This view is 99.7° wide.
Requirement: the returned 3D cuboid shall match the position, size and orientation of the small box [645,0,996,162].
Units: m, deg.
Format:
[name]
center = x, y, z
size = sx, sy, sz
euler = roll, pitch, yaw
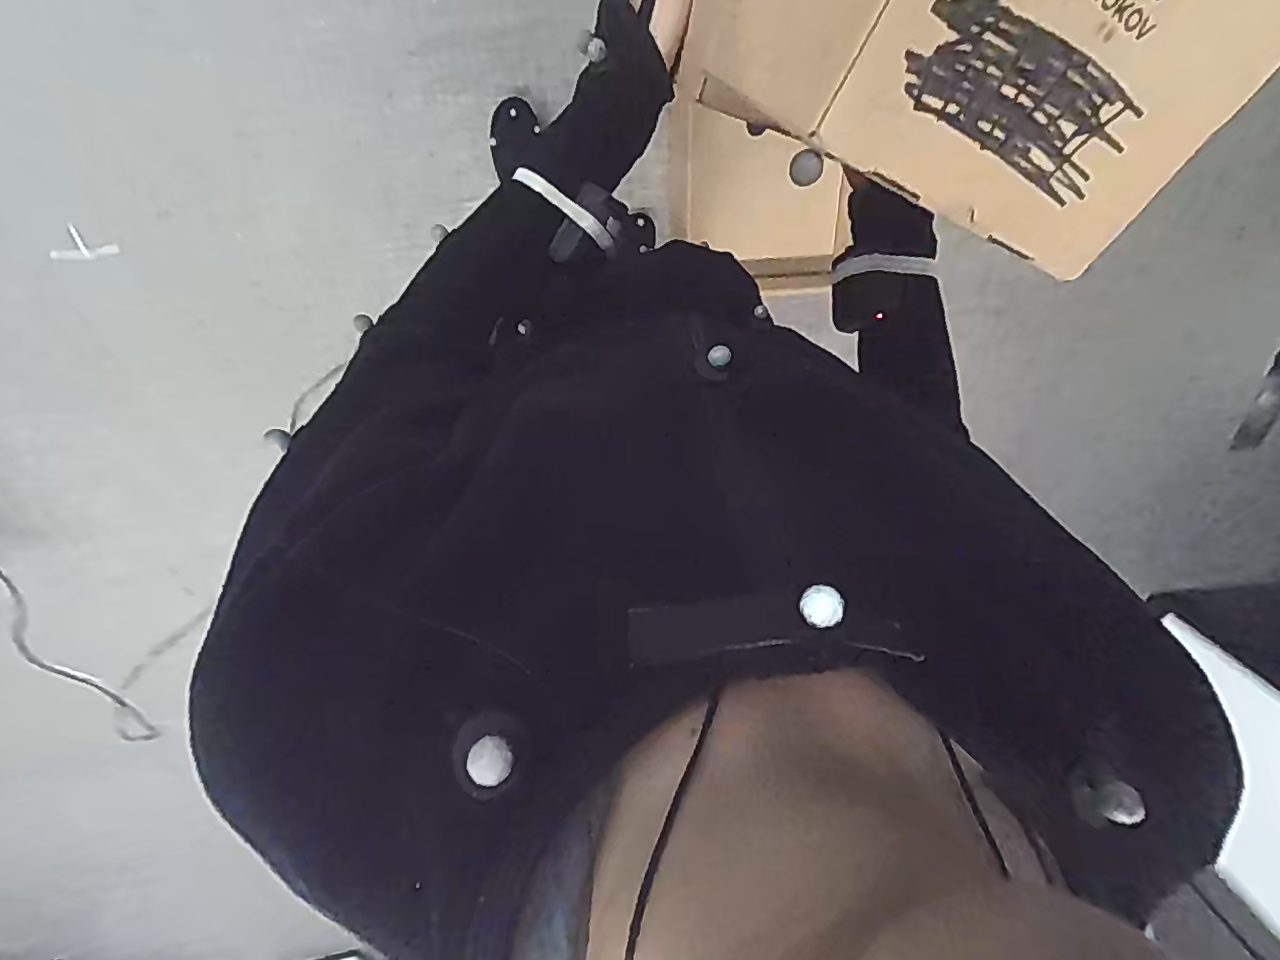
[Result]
[small box]
center = 0.113, -0.340, 0.350
size = 0.179, 0.176, 0.168
euler = 7, 133, -18
